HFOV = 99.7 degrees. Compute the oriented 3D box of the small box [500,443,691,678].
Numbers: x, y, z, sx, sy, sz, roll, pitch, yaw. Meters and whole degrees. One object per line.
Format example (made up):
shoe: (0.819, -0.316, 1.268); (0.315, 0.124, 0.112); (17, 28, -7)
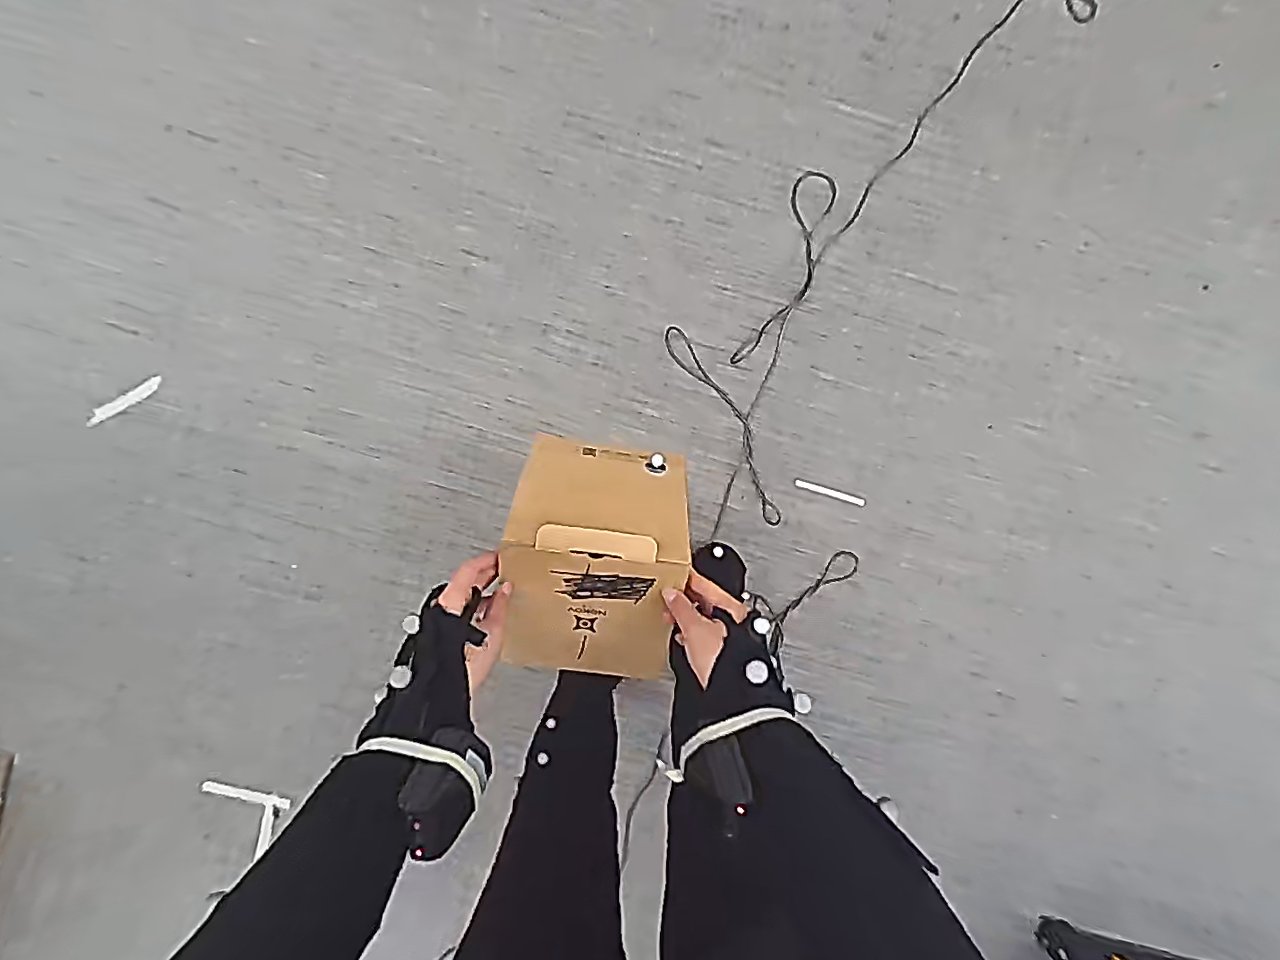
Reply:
small box: (-0.048, 0.081, 0.576); (0.168, 0.176, 0.179); (8, 126, -4)
